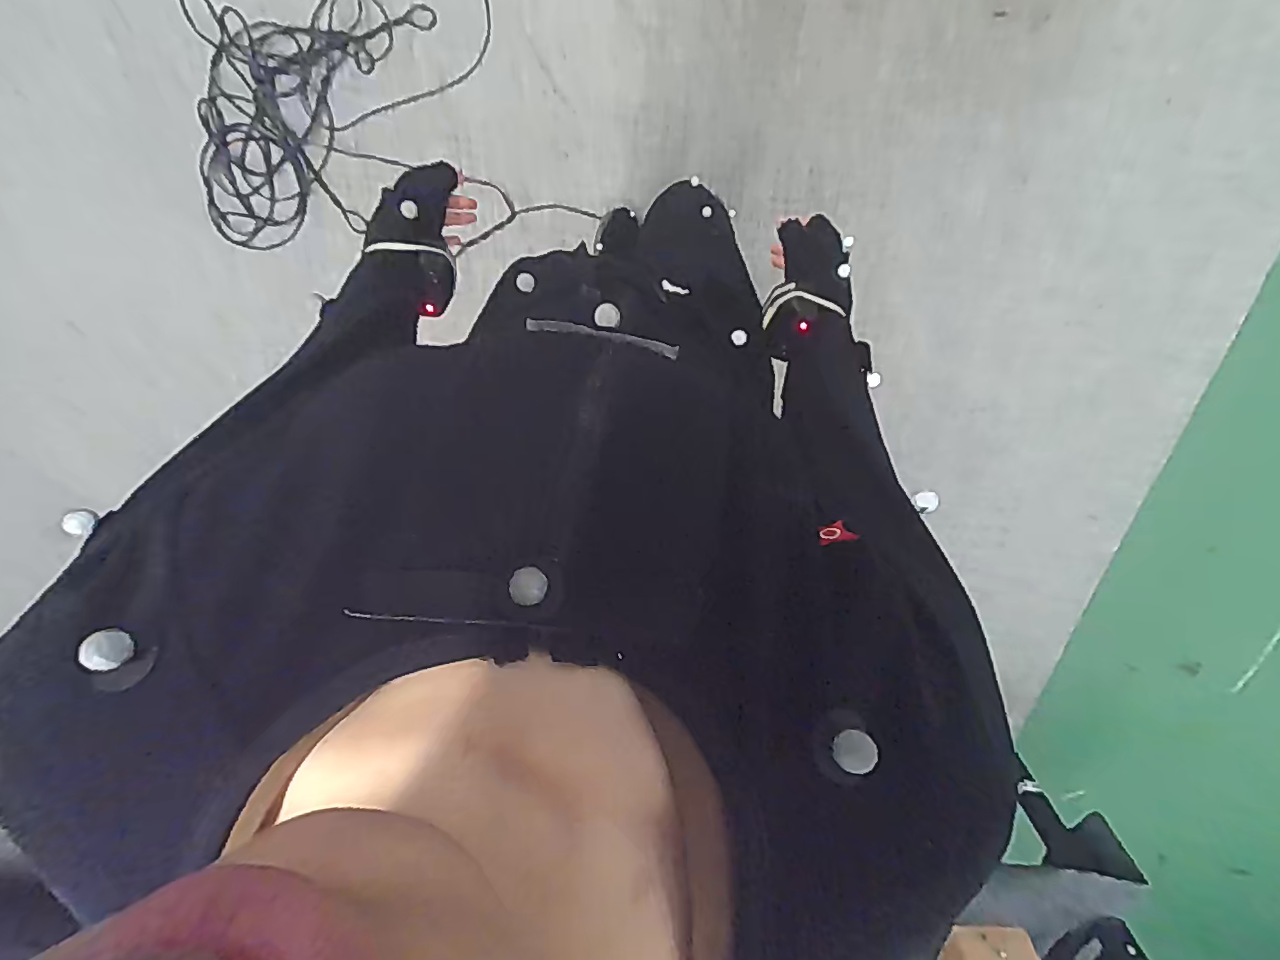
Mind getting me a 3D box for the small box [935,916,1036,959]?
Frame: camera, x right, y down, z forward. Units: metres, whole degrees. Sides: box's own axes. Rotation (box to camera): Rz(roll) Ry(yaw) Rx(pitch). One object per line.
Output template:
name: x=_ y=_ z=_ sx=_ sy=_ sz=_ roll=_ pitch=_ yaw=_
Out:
small box: x=0.809 y=1.144 z=1.240 sx=0.168 sy=0.176 sz=0.179 roll=0 pitch=118 yaw=1
